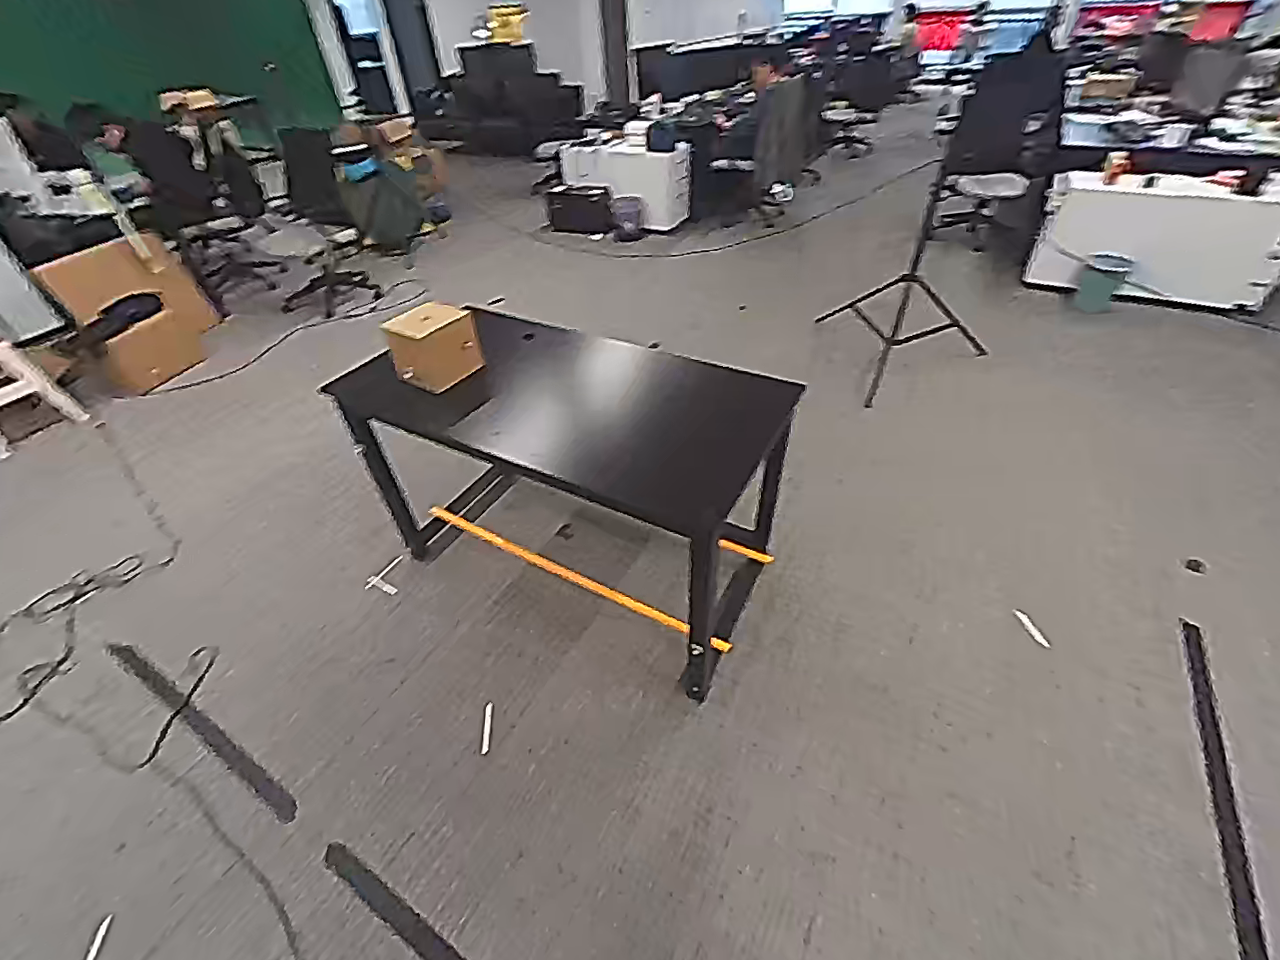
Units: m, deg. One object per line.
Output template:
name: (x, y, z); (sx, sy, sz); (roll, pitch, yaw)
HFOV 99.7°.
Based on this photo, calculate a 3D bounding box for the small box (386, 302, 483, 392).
small box: (-0.560, -0.371, 1.504); (0.168, 0.176, 0.179); (20, 48, 26)
